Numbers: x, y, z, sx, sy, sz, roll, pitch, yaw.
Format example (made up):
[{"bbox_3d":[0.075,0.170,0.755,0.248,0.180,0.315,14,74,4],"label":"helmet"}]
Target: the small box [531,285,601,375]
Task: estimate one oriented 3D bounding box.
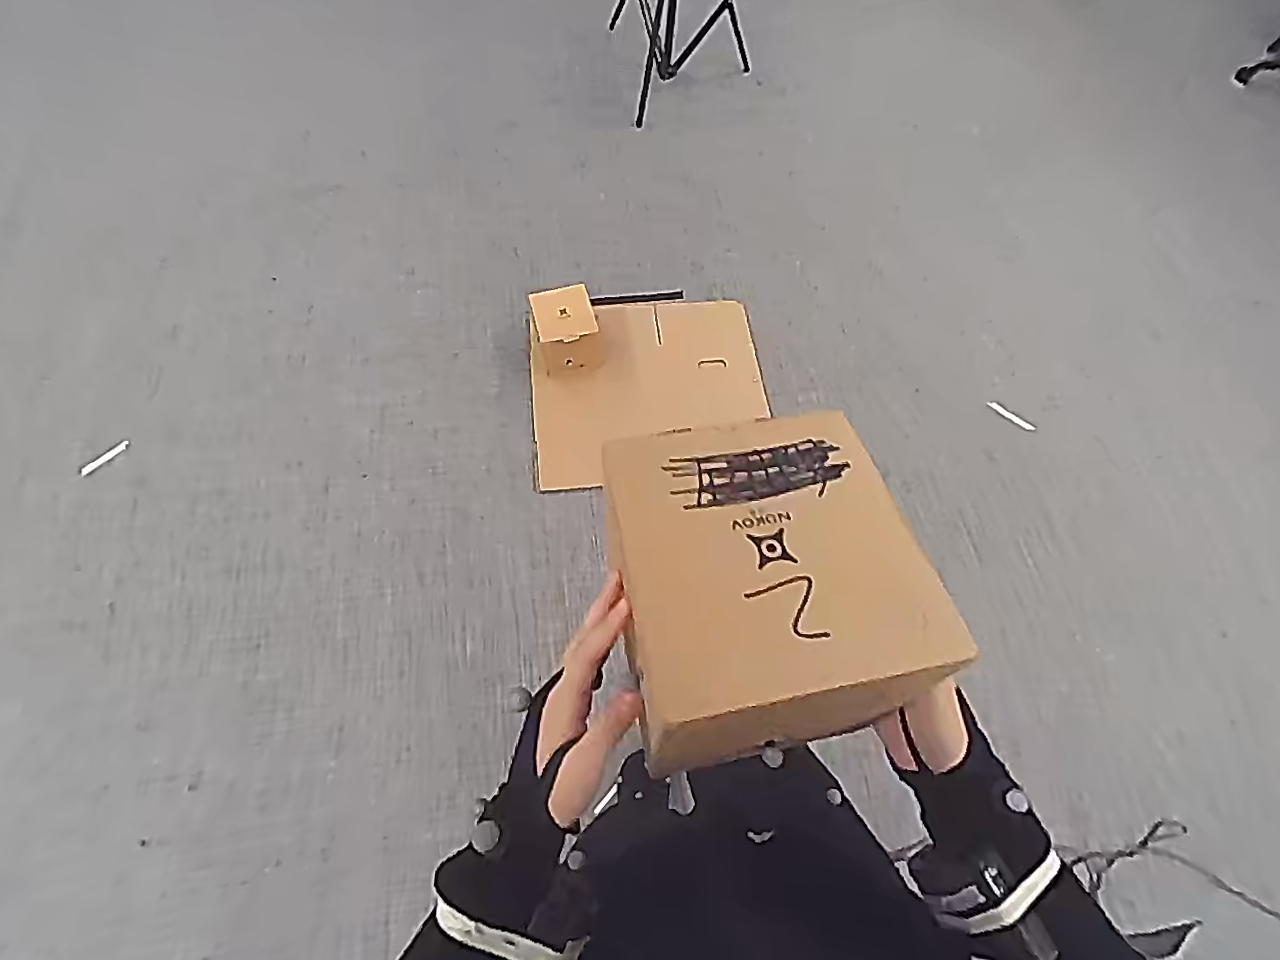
[{"bbox_3d":[-0.214,-0.435,1.583,0.168,0.176,0.179,-15,70,-8],"label":"small box"}]
